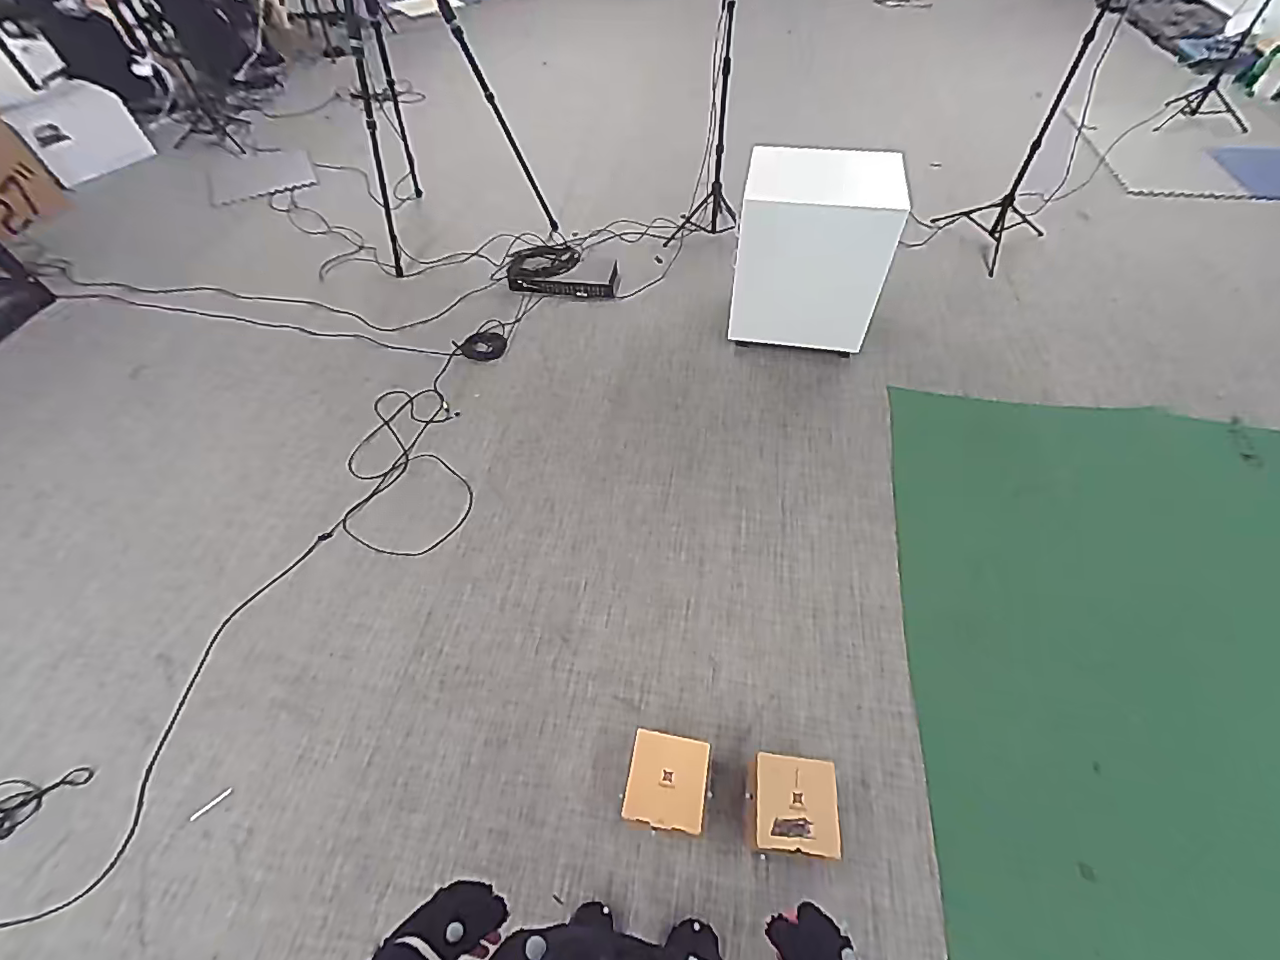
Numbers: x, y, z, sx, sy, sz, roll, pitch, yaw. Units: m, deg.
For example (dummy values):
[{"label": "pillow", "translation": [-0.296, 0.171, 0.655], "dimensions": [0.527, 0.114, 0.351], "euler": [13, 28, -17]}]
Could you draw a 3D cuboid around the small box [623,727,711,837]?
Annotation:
[{"label": "small box", "translation": [0.061, 0.680, 1.213], "dimensions": [0.168, 0.176, 0.179], "euler": [8, 55, 8]}]

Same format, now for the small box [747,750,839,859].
[{"label": "small box", "translation": [0.326, 0.709, 1.177], "dimensions": [0.168, 0.176, 0.179], "euler": [5, 53, 6]}]
